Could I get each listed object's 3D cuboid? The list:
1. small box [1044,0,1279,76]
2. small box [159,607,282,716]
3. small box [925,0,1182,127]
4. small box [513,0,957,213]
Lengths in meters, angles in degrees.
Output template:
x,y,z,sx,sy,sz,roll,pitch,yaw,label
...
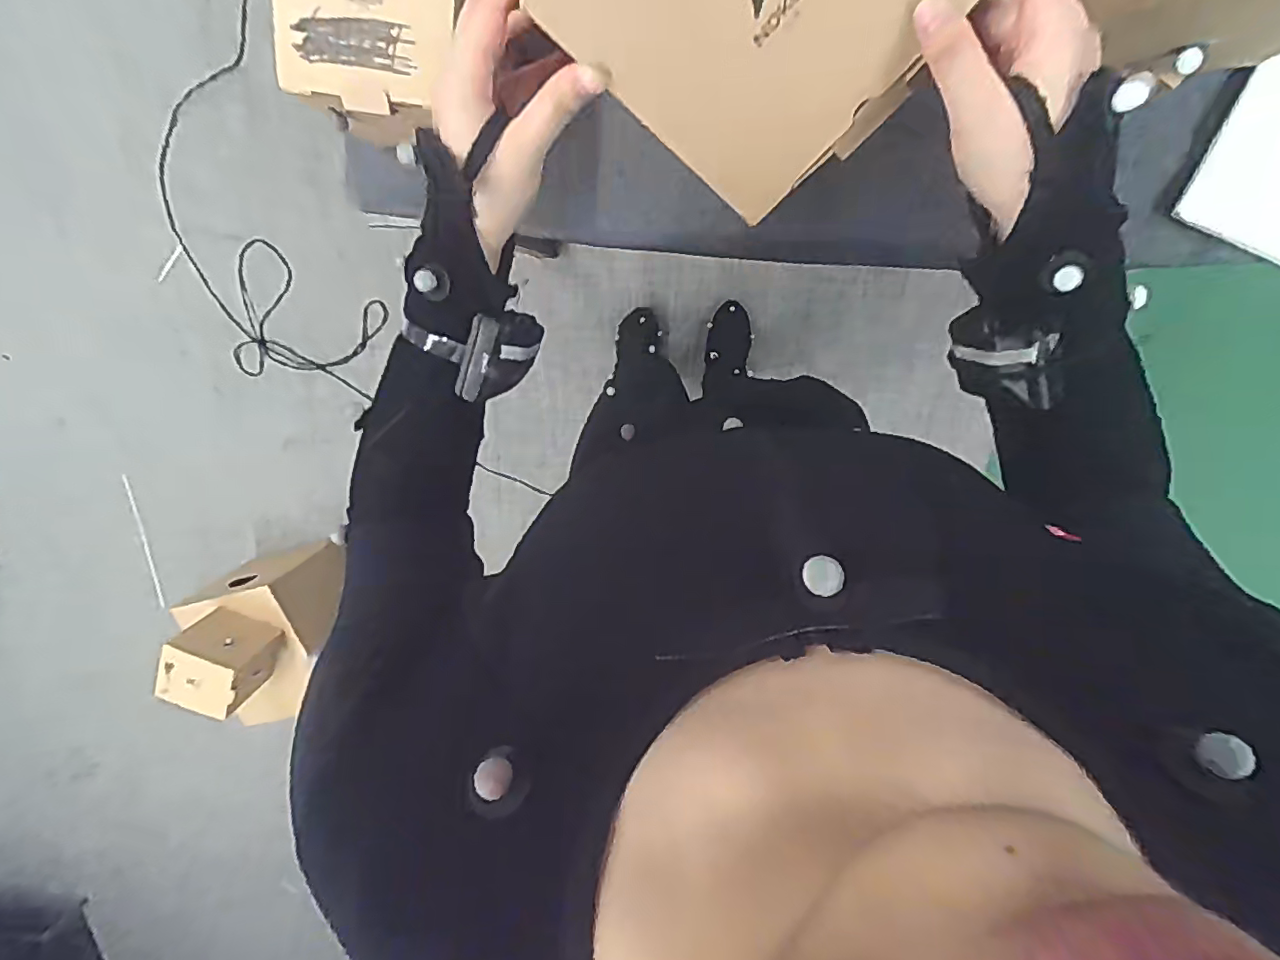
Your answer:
x,y,z,sx,sy,sz,roll,pitch,yaw,label
0.392,-0.389,0.332,0.168,0.176,0.179,-1,108,6,small box
-1.048,0.450,1.363,0.179,0.176,0.168,23,109,-5,small box
0.405,-0.454,0.483,0.179,0.176,0.168,31,108,-4,small box
0.053,-0.304,0.305,0.179,0.176,0.168,27,134,-28,small box
